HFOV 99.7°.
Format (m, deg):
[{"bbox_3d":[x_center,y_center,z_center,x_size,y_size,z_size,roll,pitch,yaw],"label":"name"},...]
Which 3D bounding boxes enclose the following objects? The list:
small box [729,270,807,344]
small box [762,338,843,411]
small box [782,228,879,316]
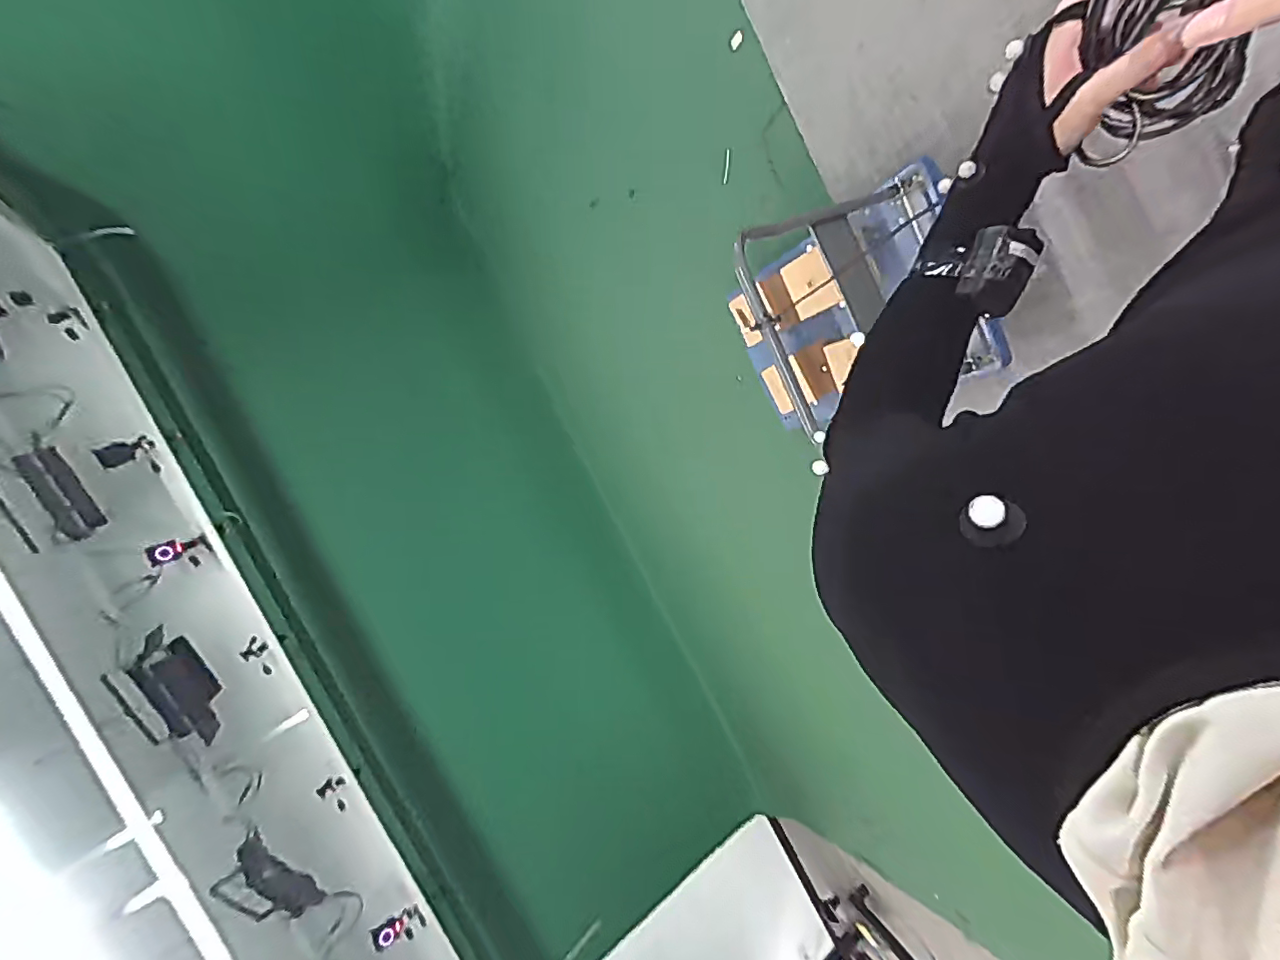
[{"bbox_3d":[0.439,-0.585,1.813,0.168,0.176,0.179,63,155,-4],"label":"small box"},{"bbox_3d":[0.556,-0.356,1.829,0.168,0.176,0.179,63,155,-2],"label":"small box"},{"bbox_3d":[0.554,-0.604,1.575,0.179,0.176,0.168,-11,106,64],"label":"small box"}]
